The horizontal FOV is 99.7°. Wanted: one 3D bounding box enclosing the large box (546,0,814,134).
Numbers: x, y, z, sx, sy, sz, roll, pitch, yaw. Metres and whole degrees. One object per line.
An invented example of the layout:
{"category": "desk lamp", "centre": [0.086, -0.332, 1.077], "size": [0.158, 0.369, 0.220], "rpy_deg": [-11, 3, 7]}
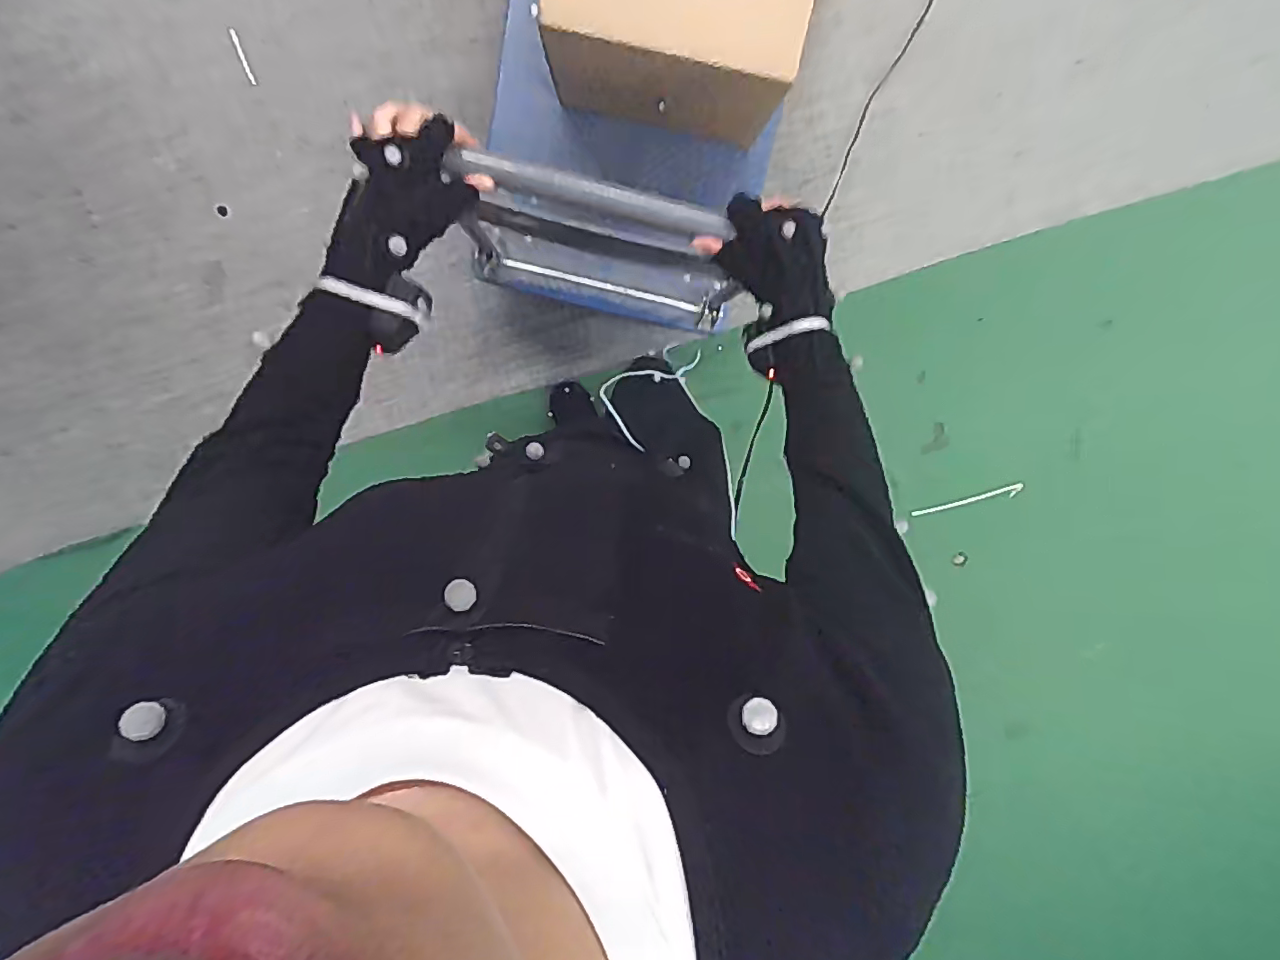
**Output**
{"category": "large box", "centre": [0.076, -0.845, 0.931], "size": [0.408, 0.320, 0.320], "rpy_deg": [9, 104, -3]}
